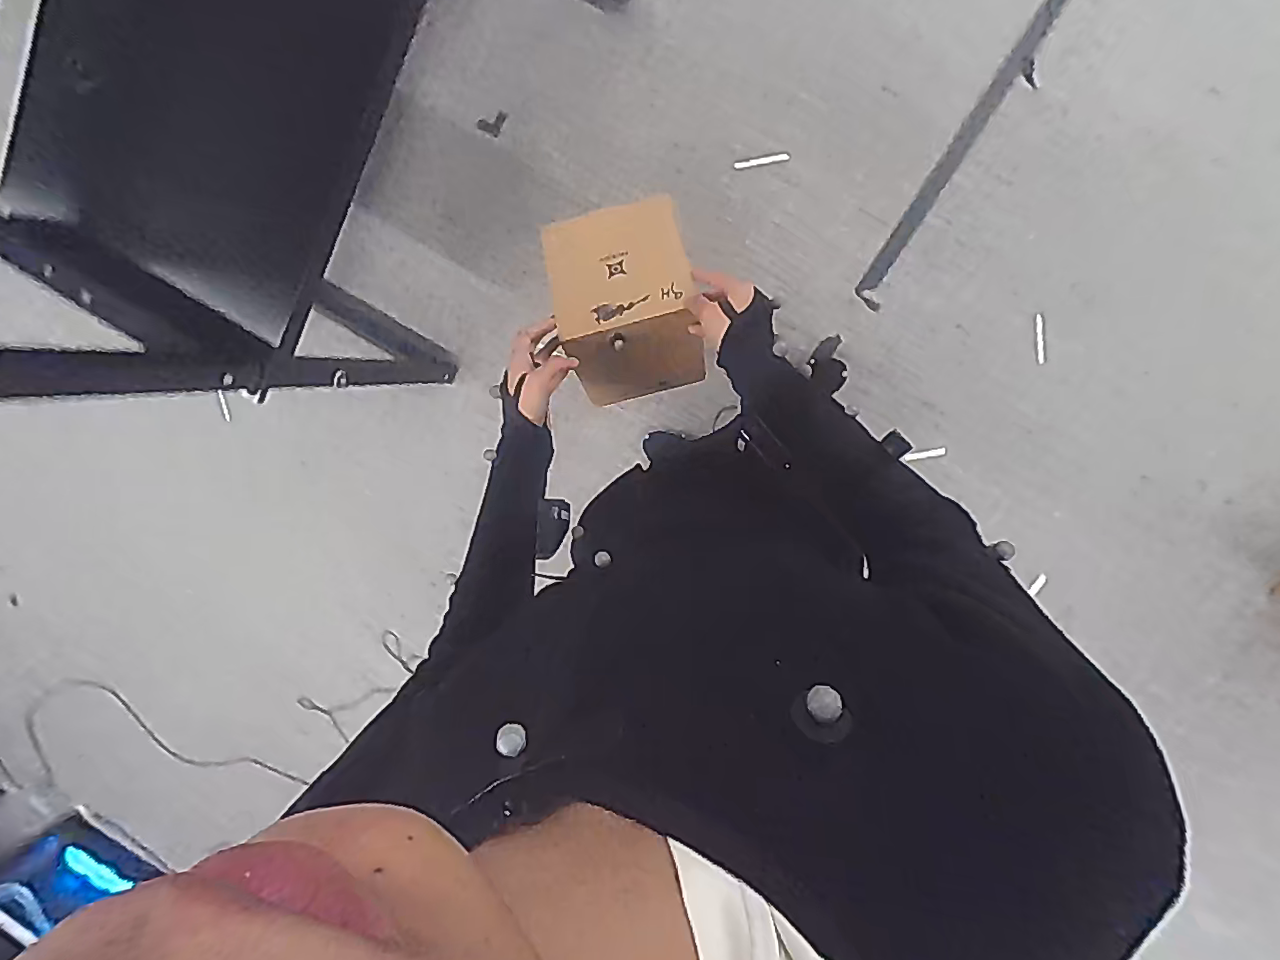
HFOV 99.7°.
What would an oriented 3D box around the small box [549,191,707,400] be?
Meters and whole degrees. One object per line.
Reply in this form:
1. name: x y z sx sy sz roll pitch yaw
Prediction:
1. small box: -0.010 -0.231 0.708 0.168 0.176 0.179 -12 71 5
